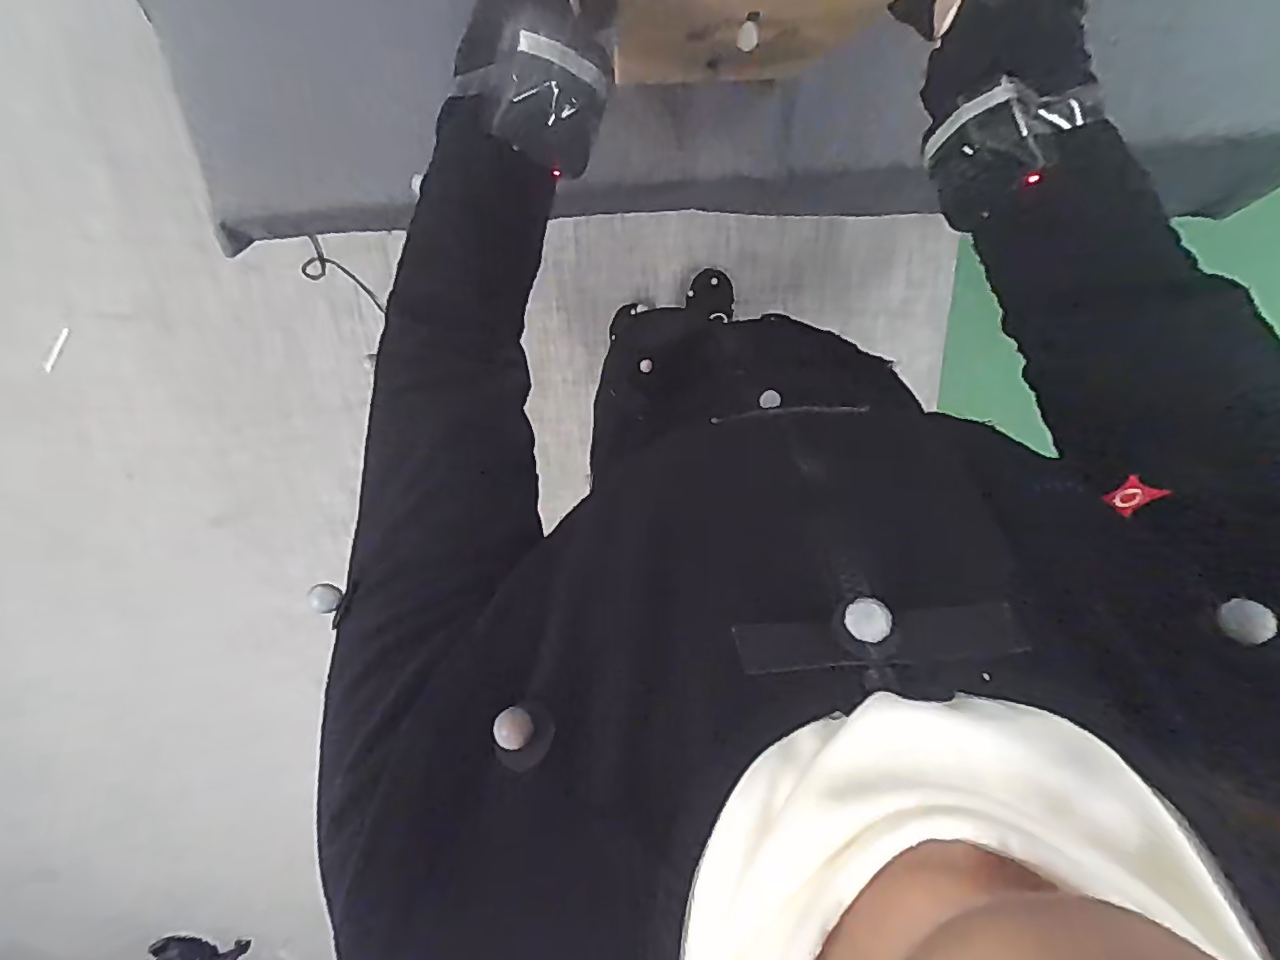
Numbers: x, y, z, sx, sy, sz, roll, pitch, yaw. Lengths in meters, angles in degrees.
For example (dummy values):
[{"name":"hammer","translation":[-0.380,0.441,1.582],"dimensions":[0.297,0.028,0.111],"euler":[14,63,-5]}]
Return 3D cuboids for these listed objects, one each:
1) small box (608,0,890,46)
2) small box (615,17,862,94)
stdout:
[{"name":"small box","translation":[0.067,-0.353,0.284],"dimensions":[0.179,0.176,0.168],"euler":[-3,116,-1]},{"name":"small box","translation":[0.066,-0.426,0.432],"dimensions":[0.179,0.176,0.168],"euler":[-6,118,0]}]
